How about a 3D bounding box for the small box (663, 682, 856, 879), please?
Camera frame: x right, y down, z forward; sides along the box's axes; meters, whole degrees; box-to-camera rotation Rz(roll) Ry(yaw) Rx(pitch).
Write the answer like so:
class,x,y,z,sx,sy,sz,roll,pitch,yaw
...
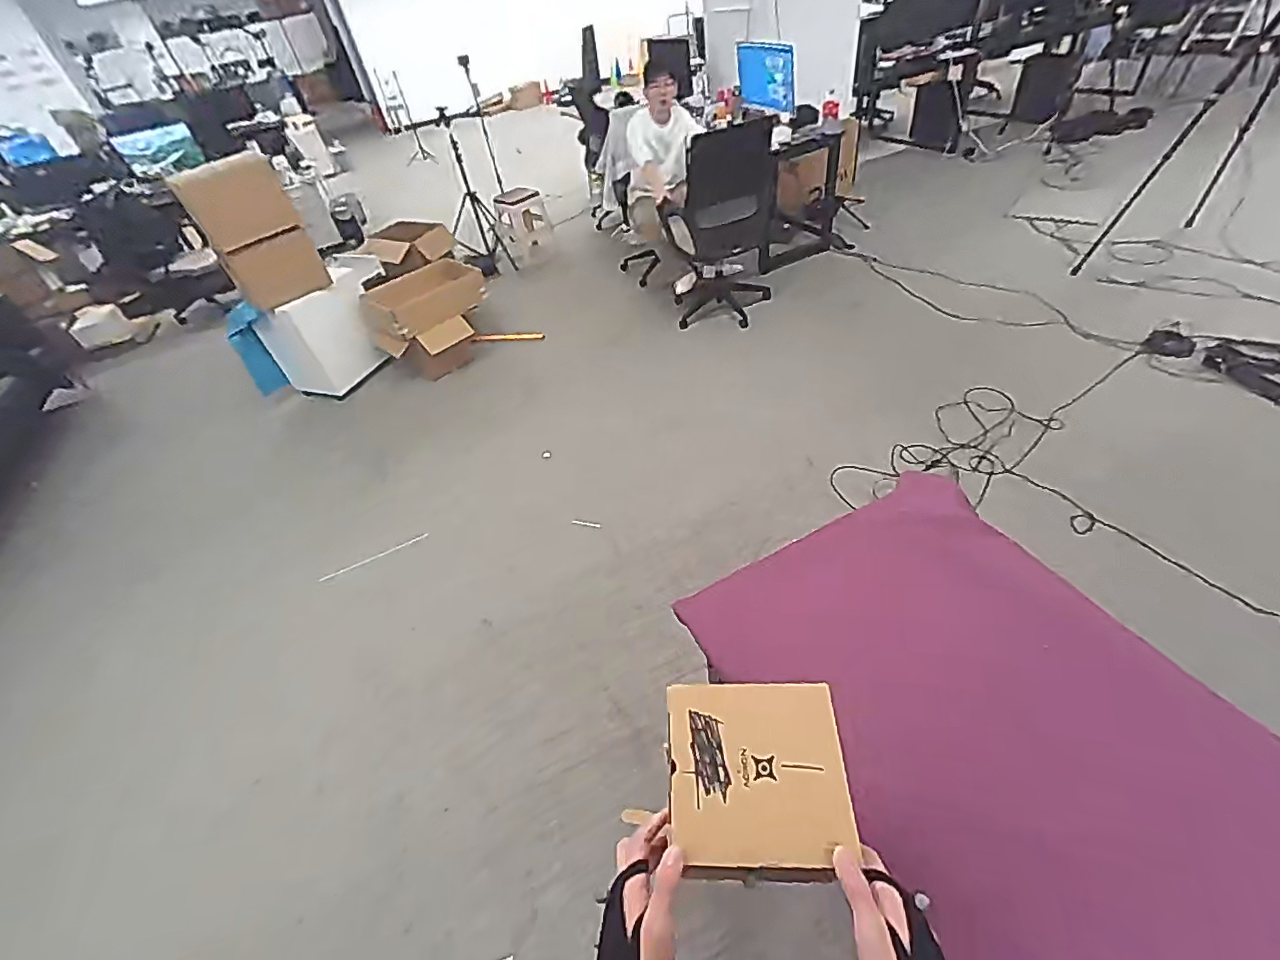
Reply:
class,x,y,z,sx,sy,sz,roll,pitch,yaw
small box,0.118,0.335,0.600,0.179,0.176,0.168,-2,50,5
